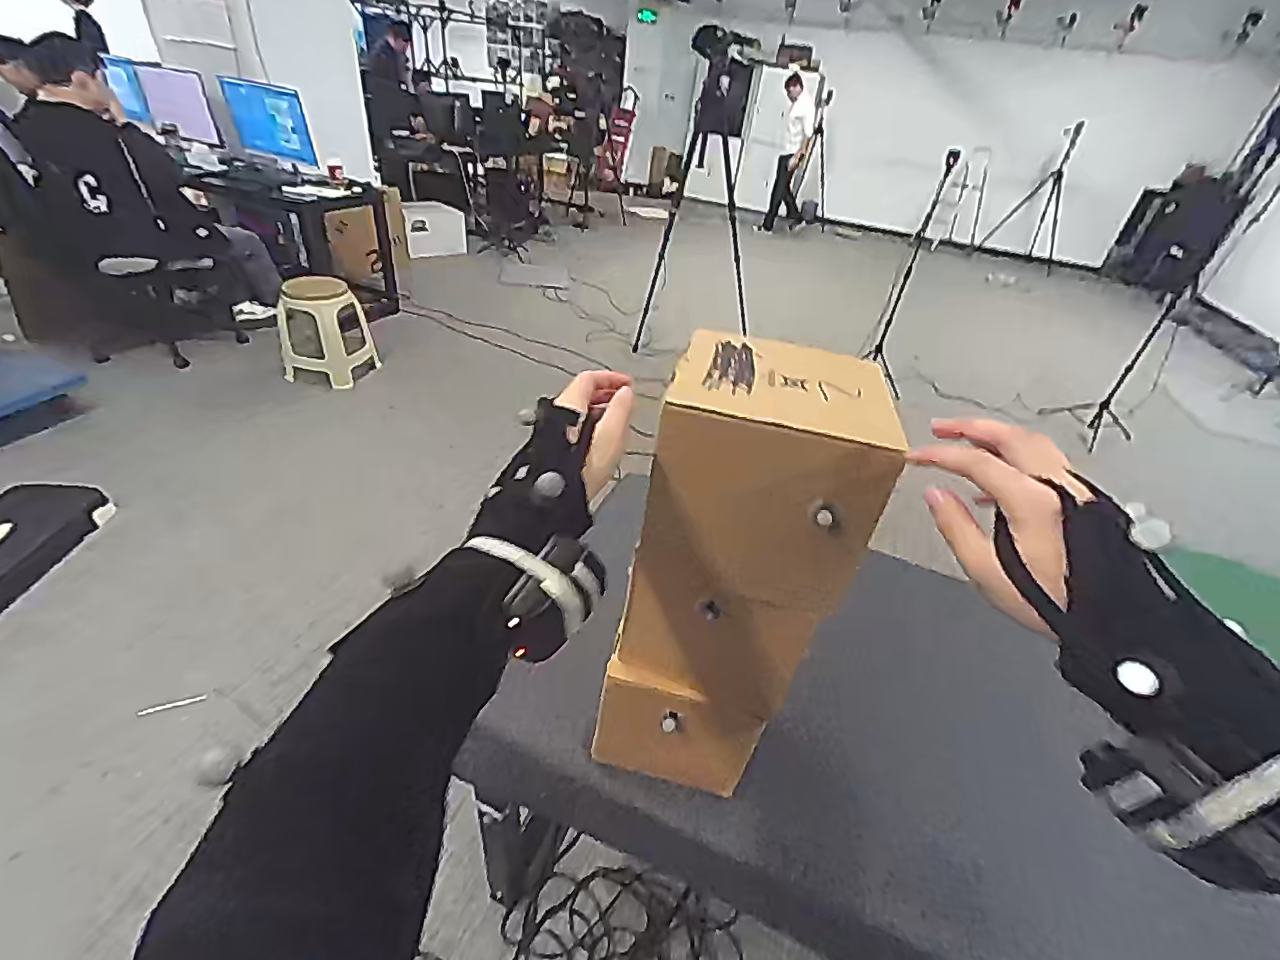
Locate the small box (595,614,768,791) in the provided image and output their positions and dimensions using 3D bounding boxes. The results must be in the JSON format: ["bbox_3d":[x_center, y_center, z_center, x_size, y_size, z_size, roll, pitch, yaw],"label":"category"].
[{"bbox_3d":[0.053,0.249,0.667,0.179,0.176,0.168,13,35,7],"label":"small box"}]

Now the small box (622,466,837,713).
[{"bbox_3d":[0.092,0.115,0.583,0.179,0.176,0.168,19,37,13],"label":"small box"}]
